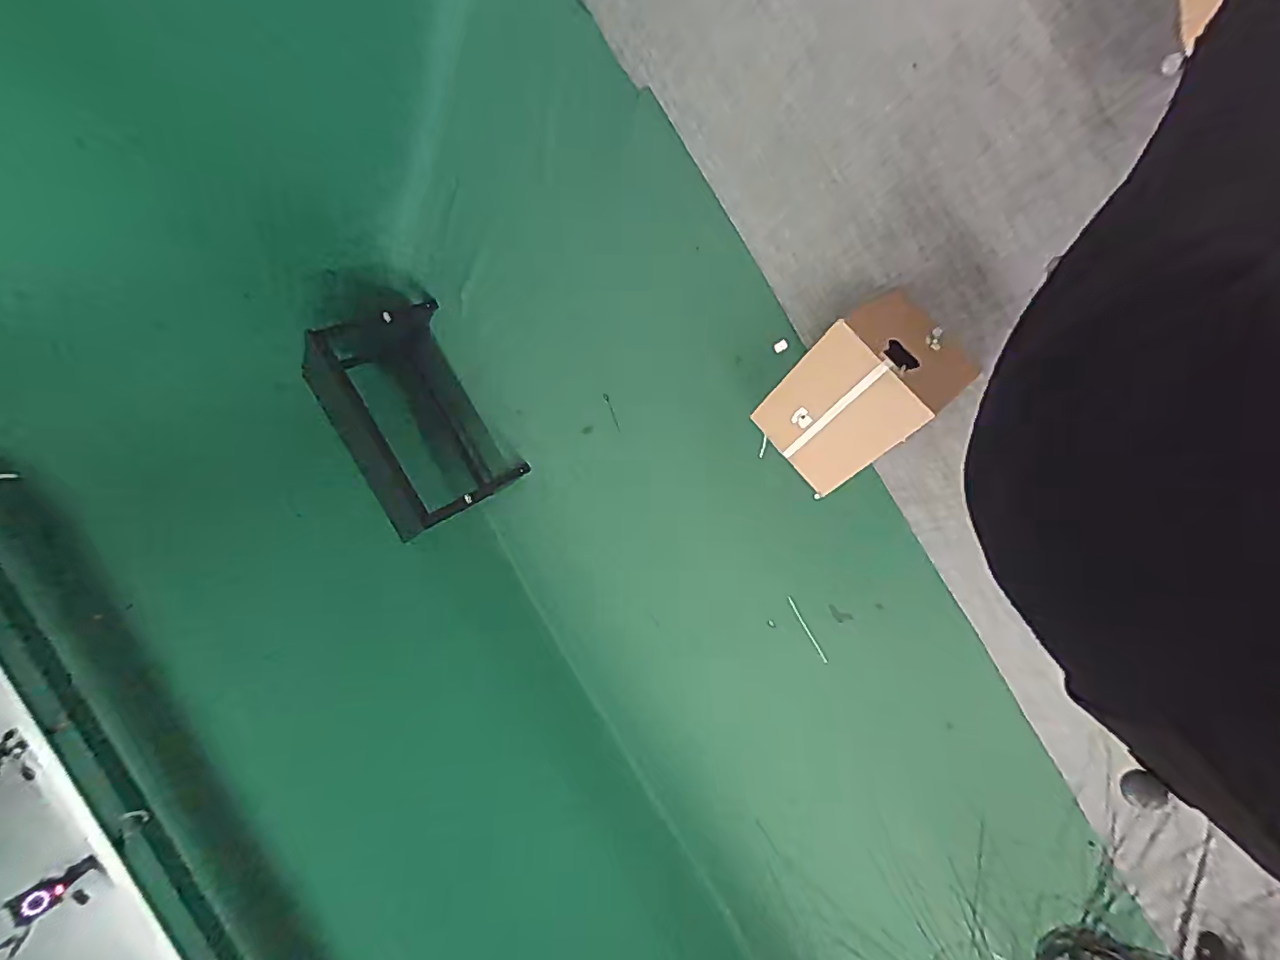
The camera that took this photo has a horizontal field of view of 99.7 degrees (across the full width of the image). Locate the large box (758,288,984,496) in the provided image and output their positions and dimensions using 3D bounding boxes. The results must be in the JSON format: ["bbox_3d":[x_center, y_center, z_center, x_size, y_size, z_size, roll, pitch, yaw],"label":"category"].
[{"bbox_3d":[0.603,-0.231,1.453,0.320,0.320,0.408,51,145,11],"label":"large box"}]
